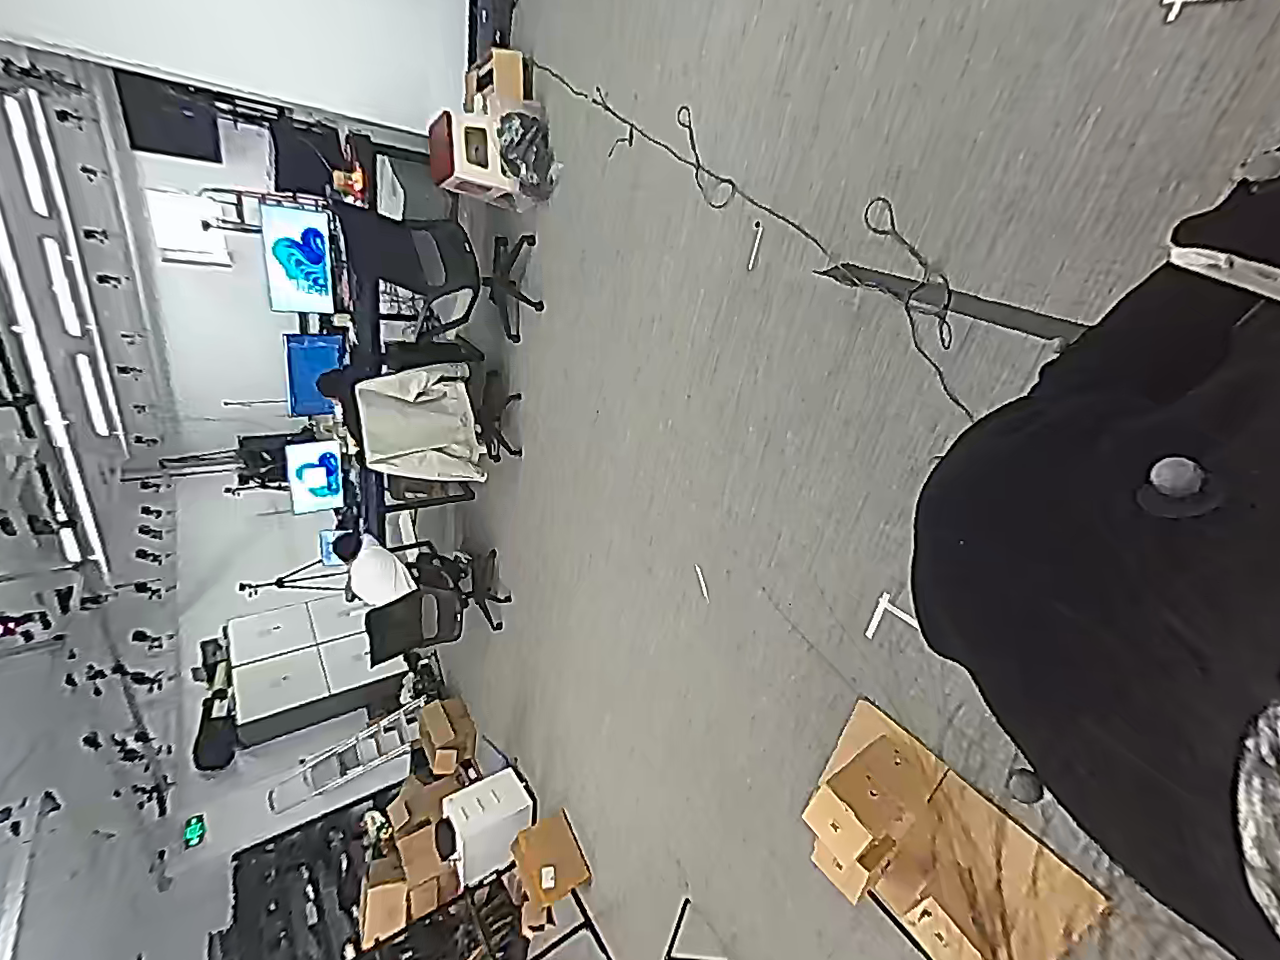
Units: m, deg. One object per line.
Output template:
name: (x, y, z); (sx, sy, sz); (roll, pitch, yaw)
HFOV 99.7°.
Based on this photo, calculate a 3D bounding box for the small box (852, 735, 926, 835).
small box: (0.734, 0.923, 1.648); (0.168, 0.176, 0.179); (38, 125, 42)

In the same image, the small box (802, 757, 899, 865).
small box: (0.605, 0.943, 1.551); (0.168, 0.176, 0.179); (42, 128, 40)

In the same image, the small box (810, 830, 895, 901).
small box: (0.694, 1.205, 1.767); (0.179, 0.176, 0.168); (33, 124, 45)

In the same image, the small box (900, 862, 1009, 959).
small box: (0.884, 1.231, 1.516); (0.179, 0.176, 0.168); (46, 131, 35)
